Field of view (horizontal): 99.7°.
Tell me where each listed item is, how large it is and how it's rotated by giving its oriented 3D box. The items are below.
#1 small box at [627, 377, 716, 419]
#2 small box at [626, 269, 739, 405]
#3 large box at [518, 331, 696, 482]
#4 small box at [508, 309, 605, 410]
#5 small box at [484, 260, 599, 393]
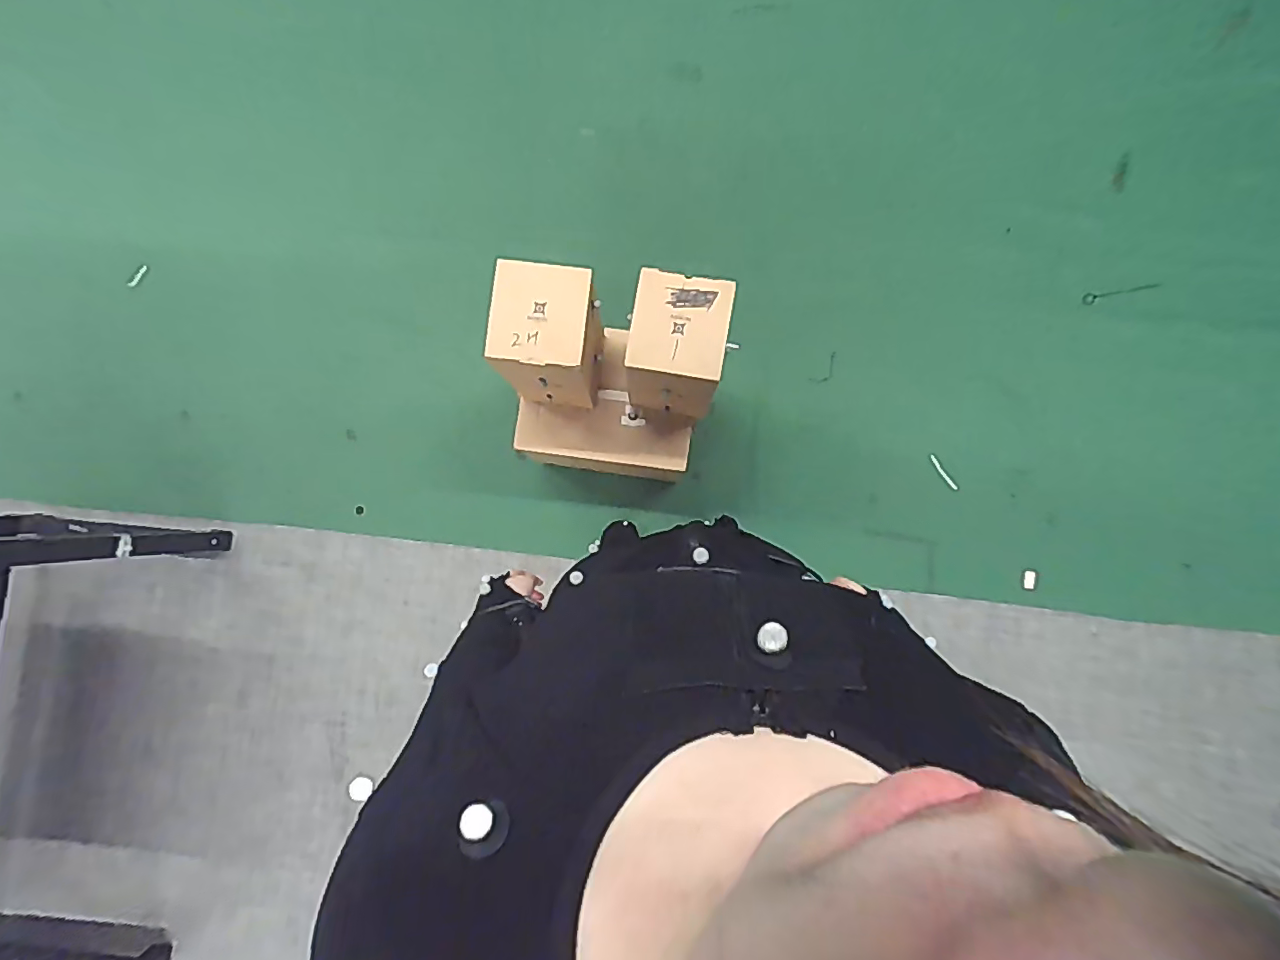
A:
[{"bbox_3d":[0.078,-0.233,1.139,0.179,0.176,0.168,12,85,4],"label":"small box"},{"bbox_3d":[0.072,-0.248,0.974,0.168,0.176,0.179,10,86,3],"label":"small box"},{"bbox_3d":[-0.066,-0.178,1.382,0.408,0.320,0.320,7,86,1],"label":"large box"},{"bbox_3d":[-0.169,-0.260,1.147,0.168,0.176,0.179,8,86,1],"label":"small box"},{"bbox_3d":[-0.169,-0.270,0.983,0.168,0.176,0.179,7,86,1],"label":"small box"}]
